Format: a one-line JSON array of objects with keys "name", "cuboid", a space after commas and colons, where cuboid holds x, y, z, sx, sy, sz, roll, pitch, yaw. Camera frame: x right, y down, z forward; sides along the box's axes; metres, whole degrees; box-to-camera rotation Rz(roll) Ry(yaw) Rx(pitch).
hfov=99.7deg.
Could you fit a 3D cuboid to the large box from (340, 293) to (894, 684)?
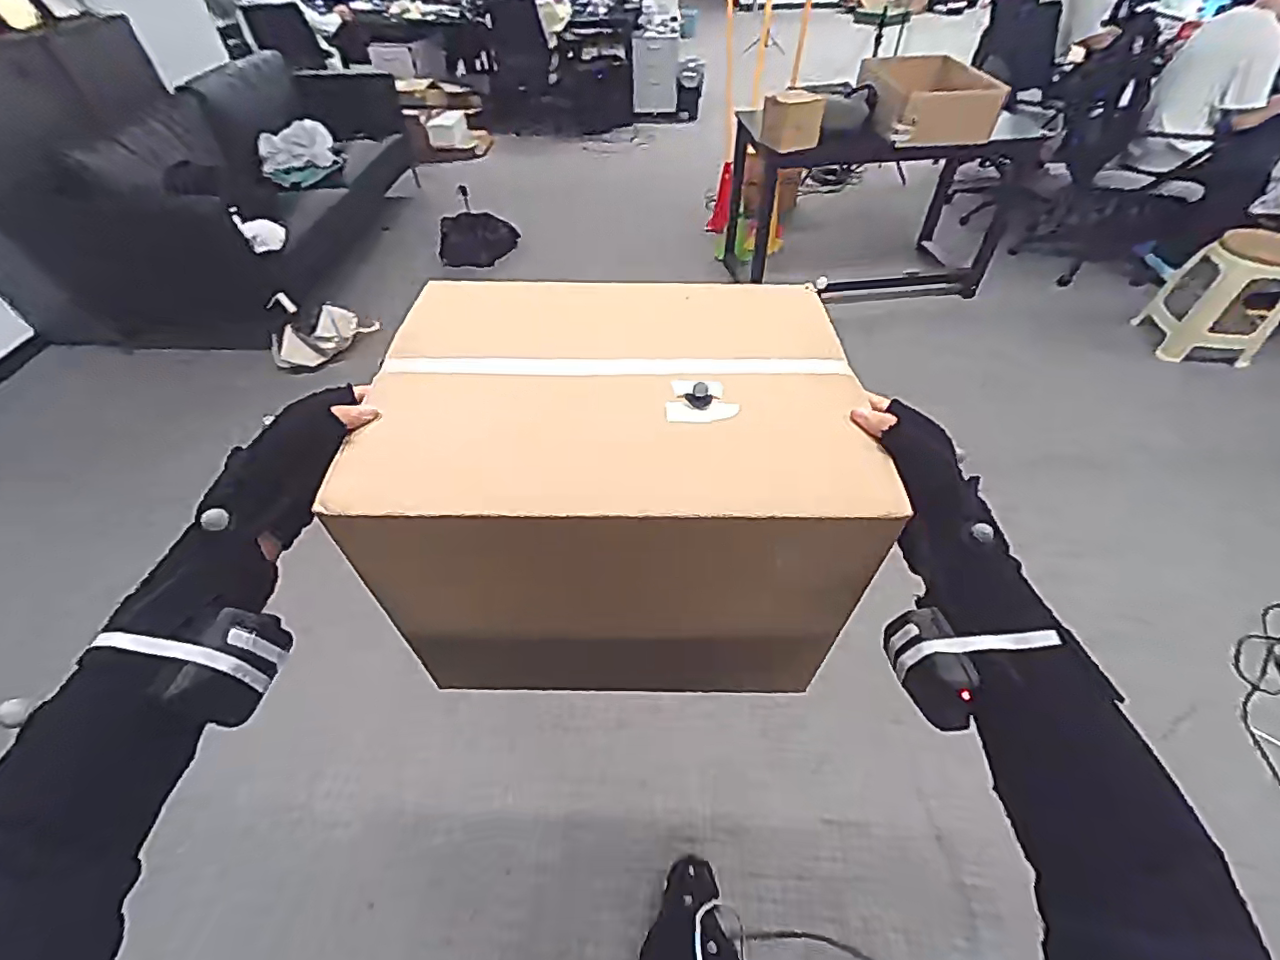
[{"name": "large box", "cuboid": [-0.019, 0.012, 0.590, 0.408, 0.320, 0.320, 1, 48, -1]}]
